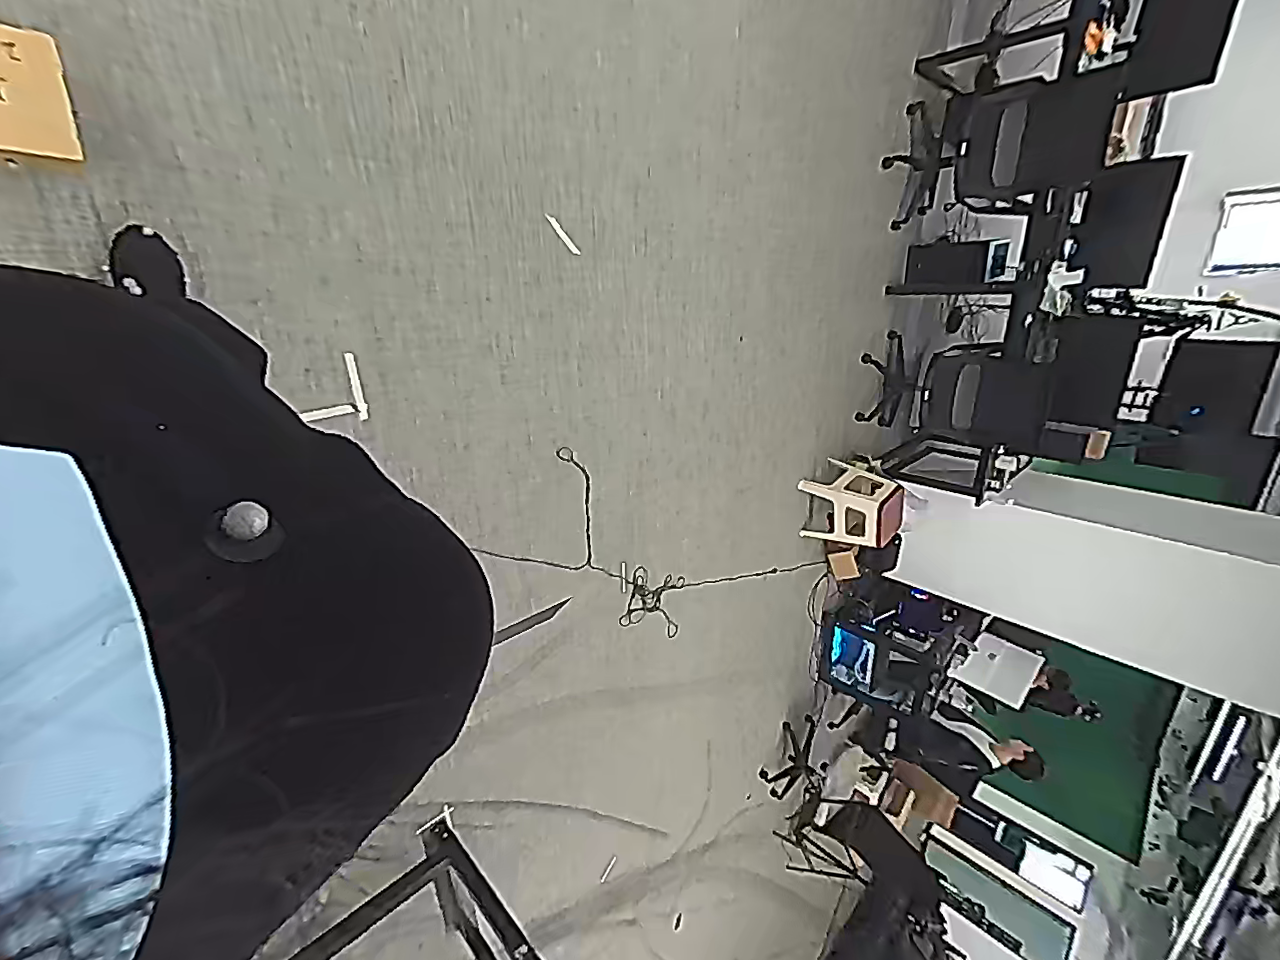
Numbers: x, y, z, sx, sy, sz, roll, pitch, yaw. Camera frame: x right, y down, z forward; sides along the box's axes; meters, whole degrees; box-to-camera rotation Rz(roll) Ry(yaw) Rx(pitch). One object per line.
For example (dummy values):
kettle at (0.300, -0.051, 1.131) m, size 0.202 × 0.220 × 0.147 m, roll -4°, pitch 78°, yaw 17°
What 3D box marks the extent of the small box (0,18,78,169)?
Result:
small box at (-1.020, -0.609, 0.850) m, size 0.168 × 0.176 × 0.179 m, roll -15°, pitch 113°, yaw -43°
